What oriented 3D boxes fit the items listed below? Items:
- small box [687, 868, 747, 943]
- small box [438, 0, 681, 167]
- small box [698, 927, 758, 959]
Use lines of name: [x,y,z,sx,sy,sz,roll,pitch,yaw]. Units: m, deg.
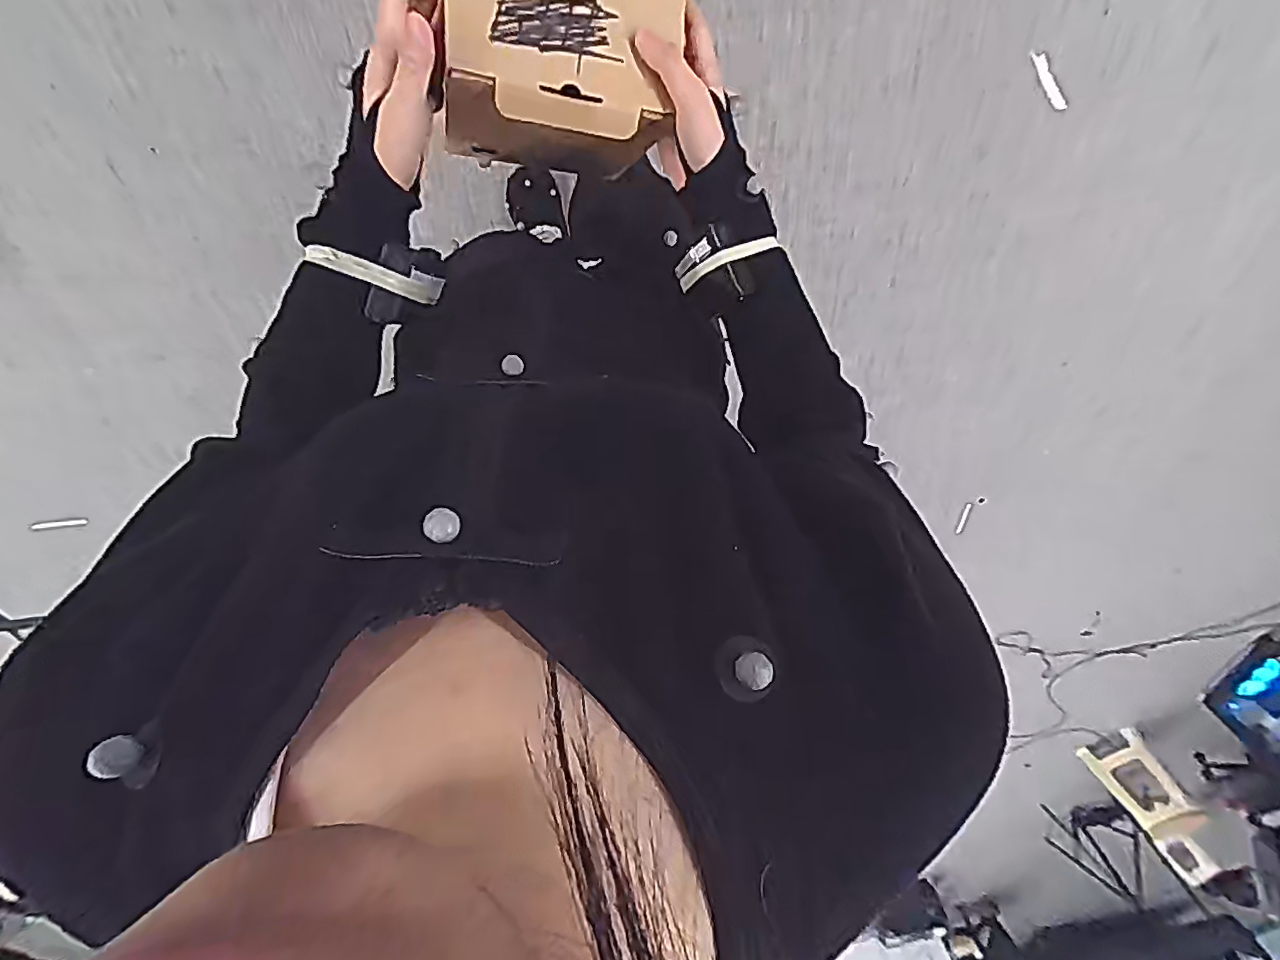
small box: [0.256,1.421,1.801,0.168,0.176,0.179,-10,127,-1]
small box: [-0.072,-0.373,0.429,0.168,0.176,0.179,-2,105,-19]
small box: [0.280,1.523,1.675,0.179,0.176,0.168,-11,128,1]
